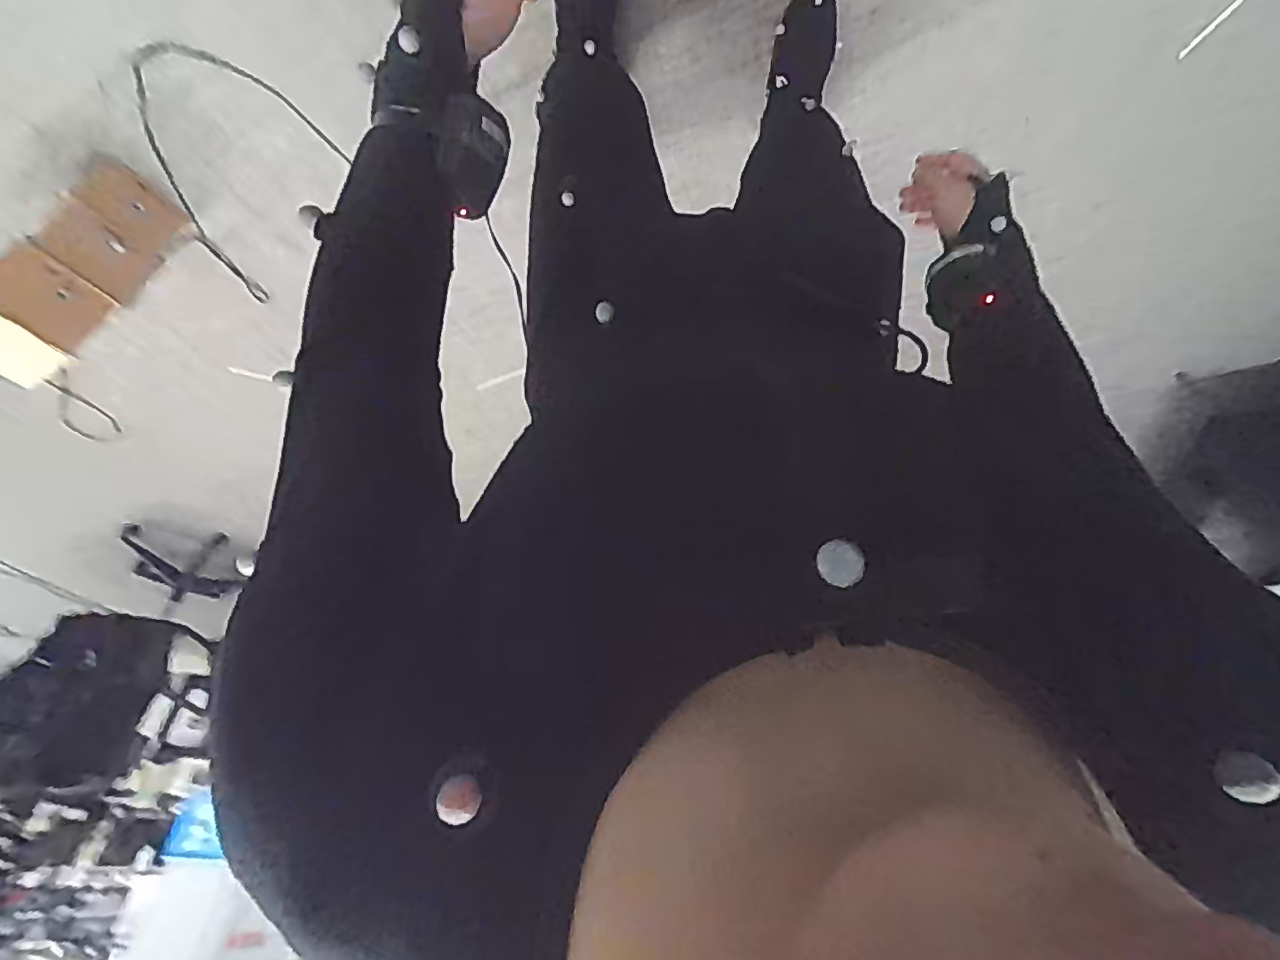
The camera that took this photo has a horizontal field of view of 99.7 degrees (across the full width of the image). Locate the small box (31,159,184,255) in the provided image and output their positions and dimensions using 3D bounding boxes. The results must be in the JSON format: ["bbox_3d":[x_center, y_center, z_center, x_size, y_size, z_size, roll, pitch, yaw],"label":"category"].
[{"bbox_3d":[-1.192,-0.583,1.226,0.179,0.176,0.168,-19,137,25],"label":"small box"}]

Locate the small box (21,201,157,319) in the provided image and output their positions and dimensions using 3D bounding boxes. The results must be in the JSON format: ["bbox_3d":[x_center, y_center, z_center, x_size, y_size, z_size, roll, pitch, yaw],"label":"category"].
[{"bbox_3d":[-1.184,-0.445,1.138,0.179,0.176,0.168,-17,139,21],"label":"small box"}]

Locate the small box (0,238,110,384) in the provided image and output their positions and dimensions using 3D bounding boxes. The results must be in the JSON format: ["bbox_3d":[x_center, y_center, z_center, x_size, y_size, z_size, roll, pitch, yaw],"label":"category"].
[{"bbox_3d":[-1.185,-0.321,1.033,0.179,0.176,0.168,-18,138,22],"label":"small box"}]
